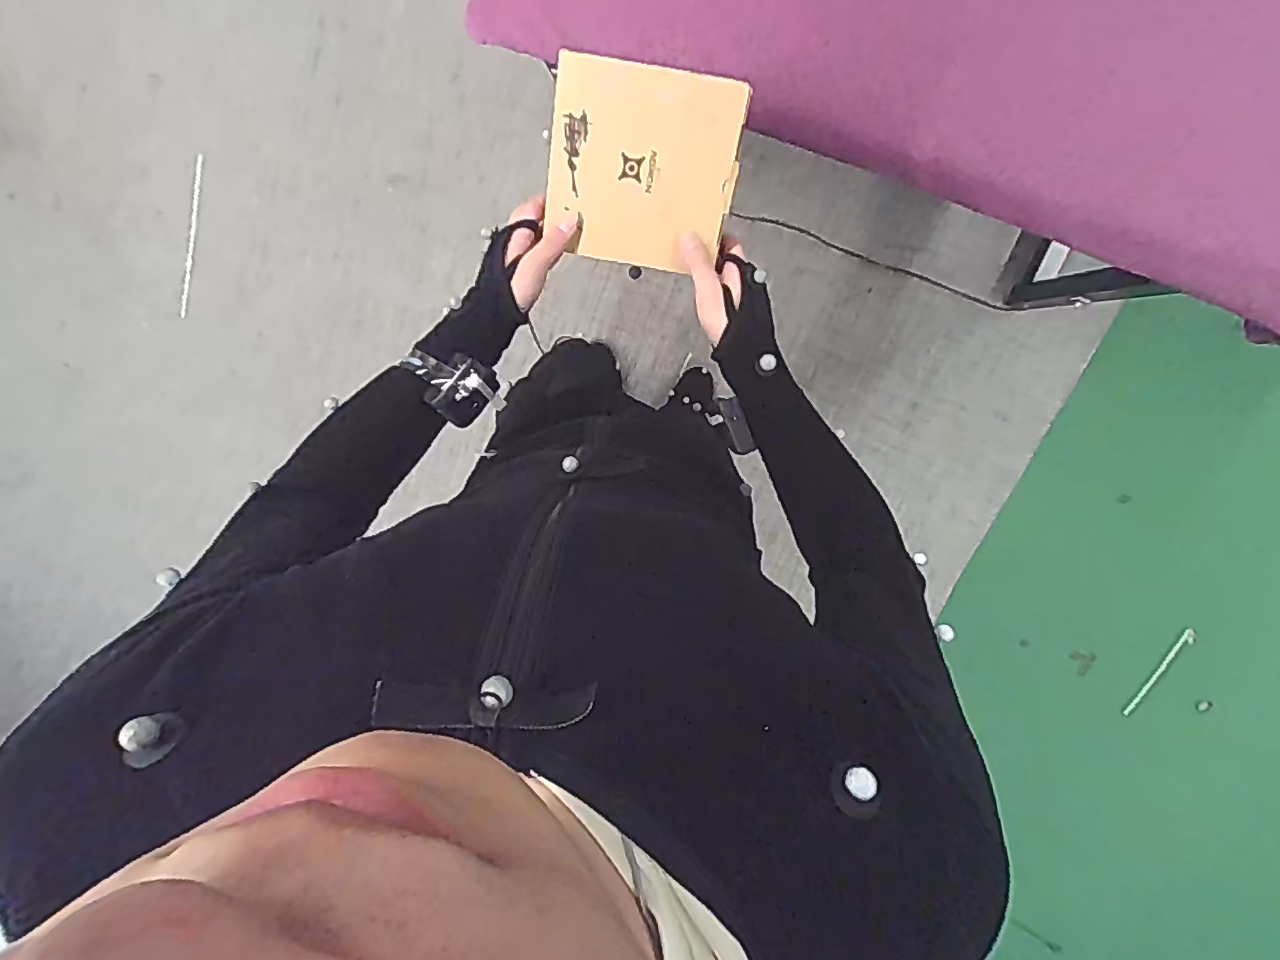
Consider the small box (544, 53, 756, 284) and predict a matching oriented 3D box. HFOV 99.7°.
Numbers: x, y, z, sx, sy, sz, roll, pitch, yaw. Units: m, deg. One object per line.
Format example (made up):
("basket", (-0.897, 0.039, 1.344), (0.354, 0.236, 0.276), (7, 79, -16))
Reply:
("small box", (0.008, -0.315, 0.578), (0.179, 0.176, 0.168), (11, 112, -1))
